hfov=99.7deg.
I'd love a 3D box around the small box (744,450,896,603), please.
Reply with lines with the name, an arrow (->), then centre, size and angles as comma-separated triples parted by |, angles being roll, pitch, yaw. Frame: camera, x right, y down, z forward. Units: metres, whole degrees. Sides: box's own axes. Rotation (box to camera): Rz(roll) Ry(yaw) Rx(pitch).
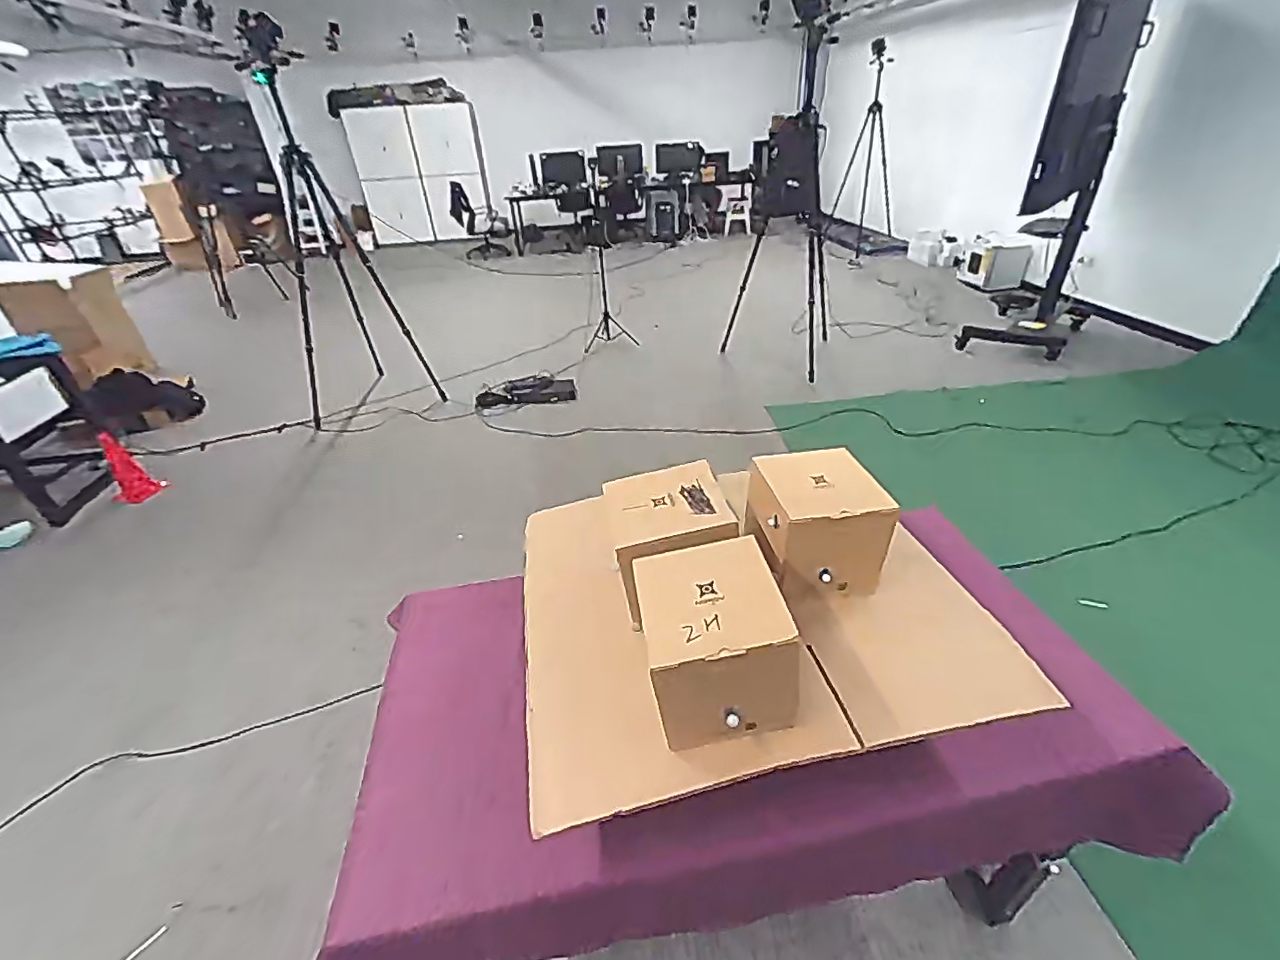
small box -> 0.274, 0.072, 0.872 | 0.168, 0.176, 0.179 | -6, 35, -7
